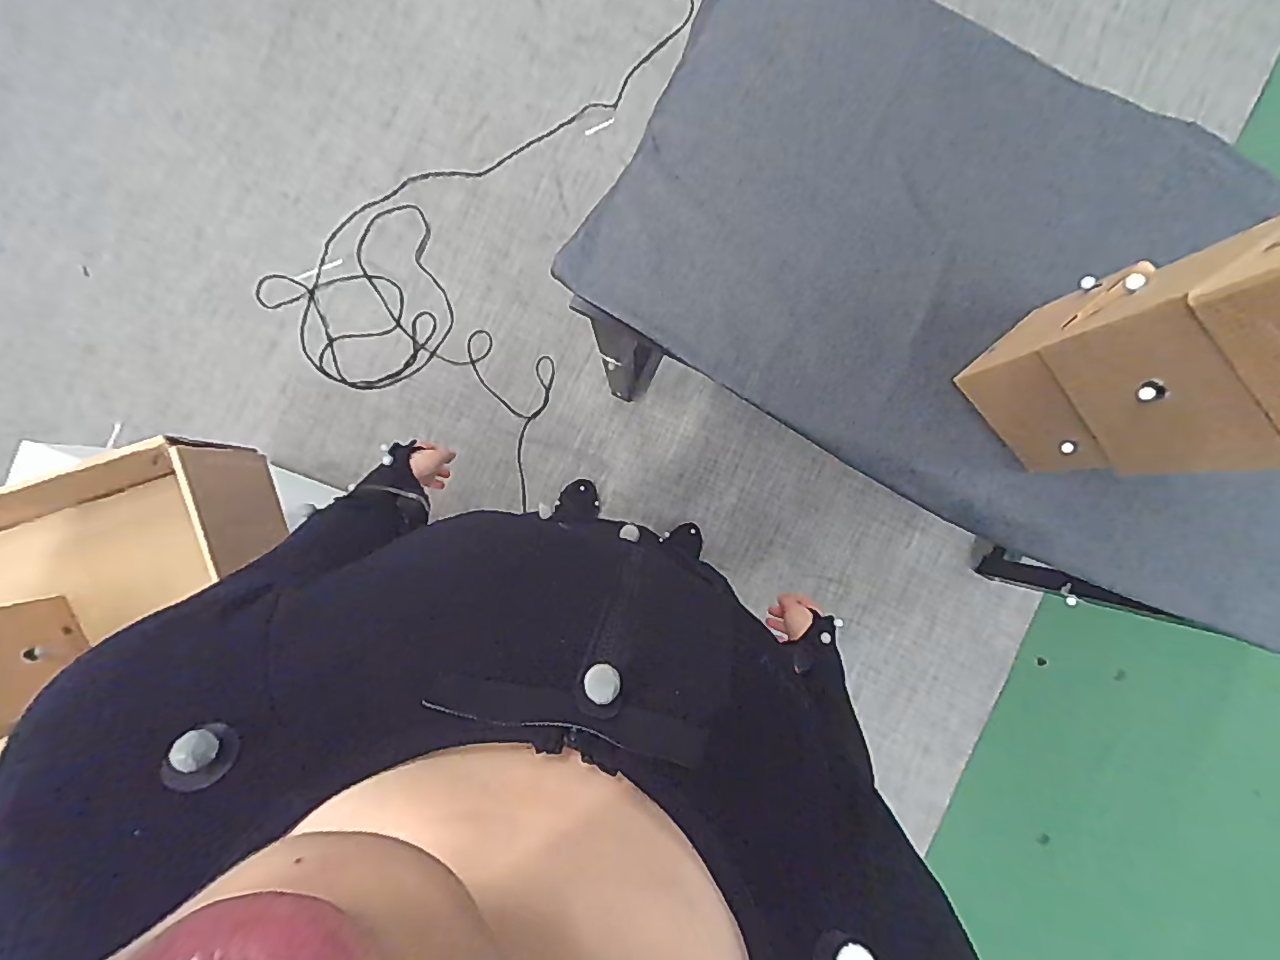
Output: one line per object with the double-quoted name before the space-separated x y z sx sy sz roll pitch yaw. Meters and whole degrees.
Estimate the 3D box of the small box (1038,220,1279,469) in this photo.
"small box" 0.557 -0.123 0.530 0.168 0.176 0.179 -32 88 -2

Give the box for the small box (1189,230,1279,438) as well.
"small box" 0.556 -0.130 0.368 0.168 0.176 0.179 -35 89 -2
